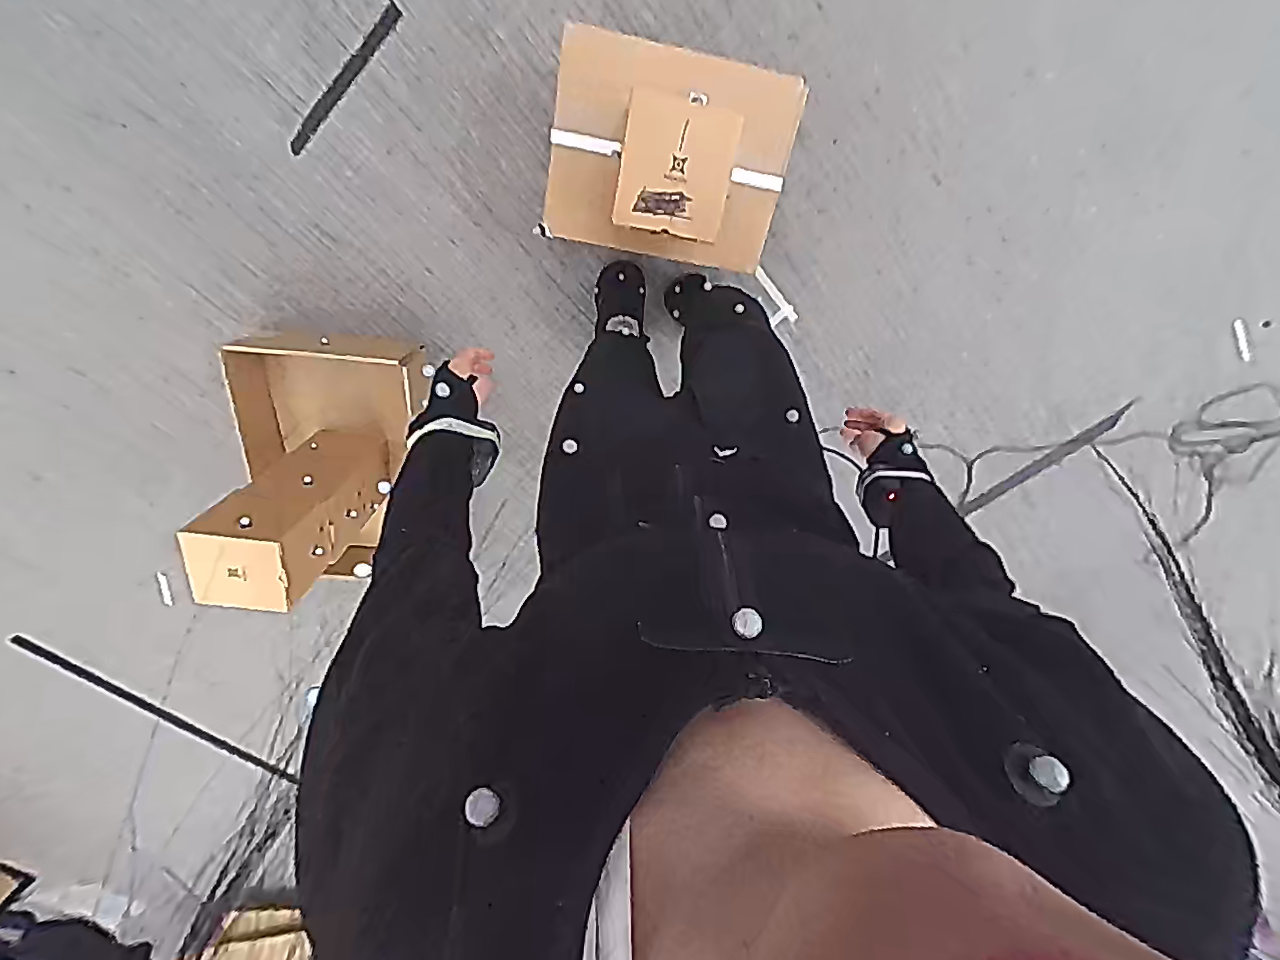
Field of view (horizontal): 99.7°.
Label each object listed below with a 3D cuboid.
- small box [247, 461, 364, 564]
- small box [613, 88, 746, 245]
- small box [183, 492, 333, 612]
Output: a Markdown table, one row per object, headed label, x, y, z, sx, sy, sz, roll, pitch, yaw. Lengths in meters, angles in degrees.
| label | x | y | z | sx | sy | sz | roll | pitch | yaw |
| --- | --- | --- | --- | --- | --- | --- | --- | --- | --- |
| small box | -0.744 | 0.068 | 1.224 | 0.179 | 0.176 | 0.168 | 8 | 116 | -7 |
| small box | 0.052 | -0.489 | 0.863 | 0.168 | 0.176 | 0.179 | 8 | 116 | -8 |
| small box | -0.744 | 0.136 | 1.075 | 0.179 | 0.176 | 0.168 | 7 | 116 | -6 |
